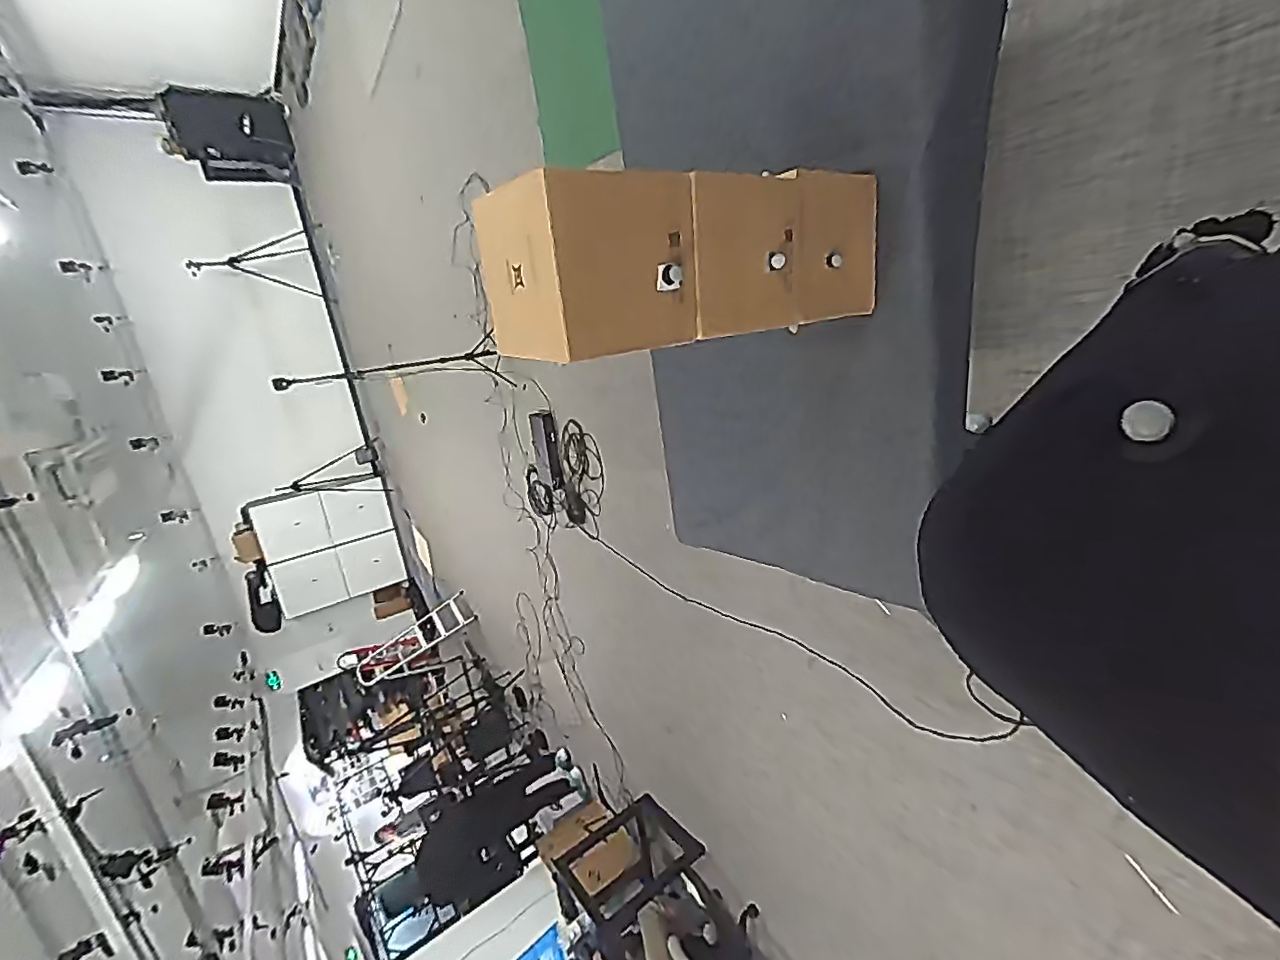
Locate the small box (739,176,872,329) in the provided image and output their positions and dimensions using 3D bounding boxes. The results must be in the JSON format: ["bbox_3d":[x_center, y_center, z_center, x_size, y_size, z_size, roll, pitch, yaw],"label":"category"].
[{"bbox_3d":[0.209,-0.317,0.766,0.168,0.176,0.179,17,120,53],"label":"small box"}]

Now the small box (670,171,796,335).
[{"bbox_3d":[0.073,-0.274,0.683,0.179,0.176,0.168,18,120,54],"label":"small box"}]

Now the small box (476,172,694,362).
[{"bbox_3d":[-0.058,-0.231,0.601,0.179,0.176,0.168,20,123,51],"label":"small box"}]
